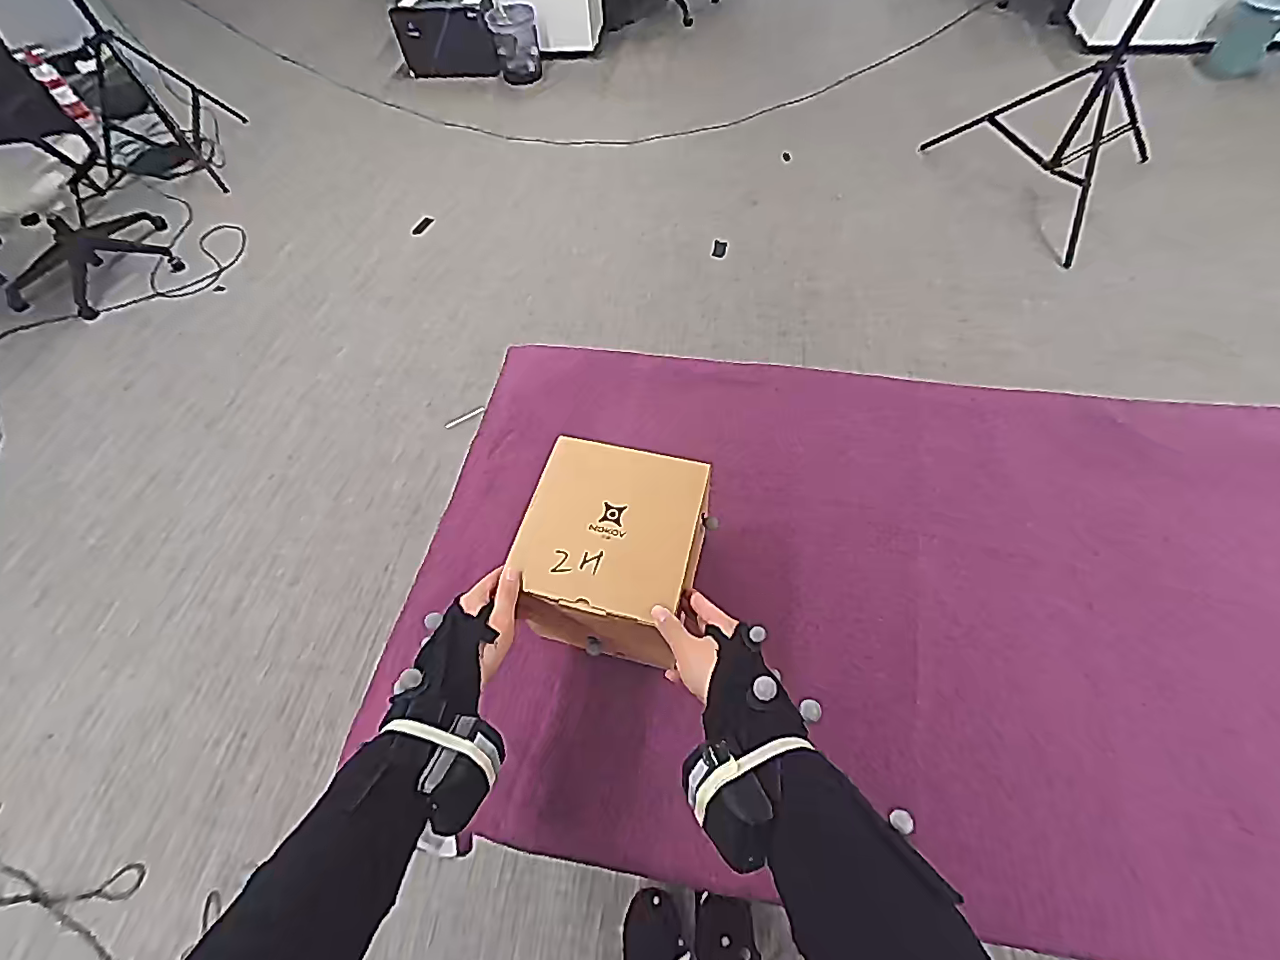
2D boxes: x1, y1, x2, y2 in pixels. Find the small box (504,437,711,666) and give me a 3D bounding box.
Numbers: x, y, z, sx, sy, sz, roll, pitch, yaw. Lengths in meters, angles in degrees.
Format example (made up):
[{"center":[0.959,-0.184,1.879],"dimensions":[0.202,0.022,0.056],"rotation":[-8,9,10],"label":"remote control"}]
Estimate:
[{"center":[-0.024,0.082,0.595],"dimensions":[0.168,0.176,0.179],"rotation":[11,60,11],"label":"small box"}]
